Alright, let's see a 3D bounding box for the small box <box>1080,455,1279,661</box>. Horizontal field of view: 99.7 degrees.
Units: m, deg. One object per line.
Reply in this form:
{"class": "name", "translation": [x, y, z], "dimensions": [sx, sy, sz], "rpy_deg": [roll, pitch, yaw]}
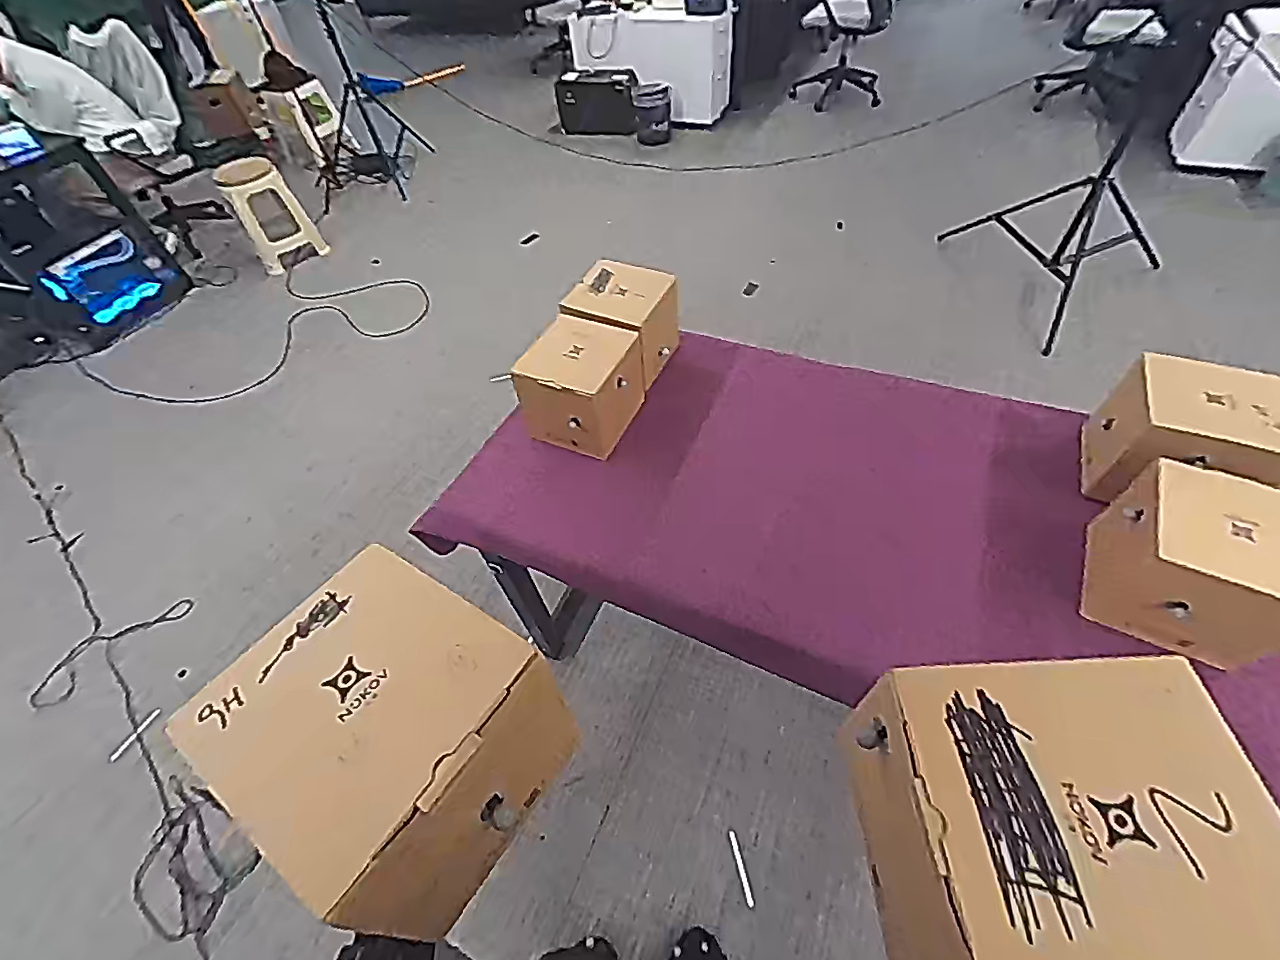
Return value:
{"class": "small box", "translation": [0.713, 0.104, 0.704], "dimensions": [0.168, 0.176, 0.179], "rpy_deg": [21, 56, 22]}

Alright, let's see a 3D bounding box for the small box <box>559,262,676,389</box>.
{"class": "small box", "translation": [-0.038, -0.311, 1.097], "dimensions": [0.179, 0.176, 0.168], "rpy_deg": [20, 58, 18]}

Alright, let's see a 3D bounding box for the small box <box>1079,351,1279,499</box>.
{"class": "small box", "translation": [0.806, -0.063, 0.819], "dimensions": [0.179, 0.176, 0.168], "rpy_deg": [19, 57, 18]}

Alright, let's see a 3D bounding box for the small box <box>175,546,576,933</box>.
{"class": "small box", "translation": [-0.167, 0.187, 0.399], "dimensions": [0.179, 0.176, 0.168], "rpy_deg": [24, 54, 25]}
